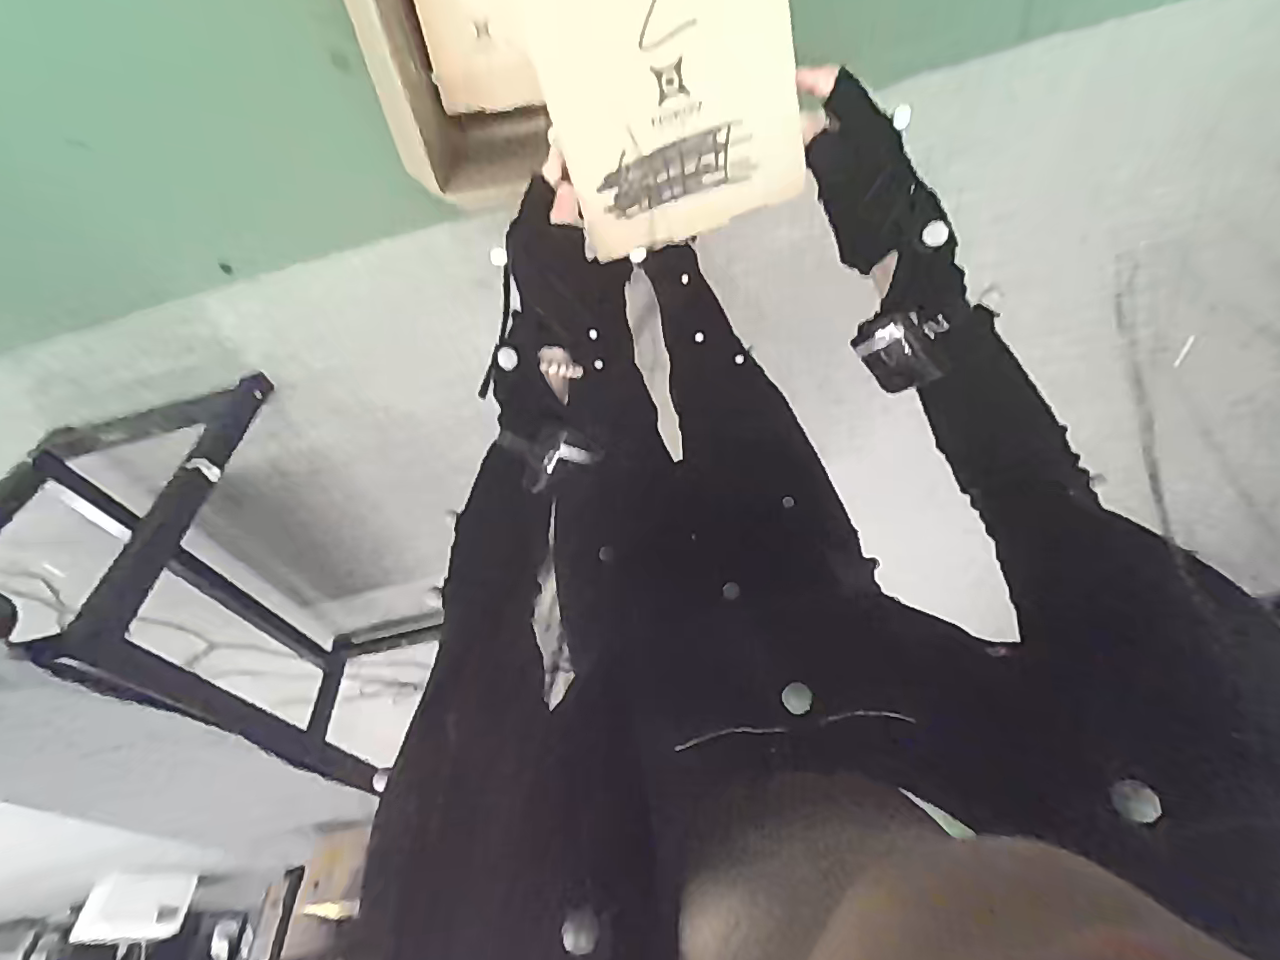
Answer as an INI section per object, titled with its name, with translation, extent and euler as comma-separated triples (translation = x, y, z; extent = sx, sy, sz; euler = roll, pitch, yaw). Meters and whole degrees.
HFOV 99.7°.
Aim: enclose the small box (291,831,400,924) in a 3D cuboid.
[small box]
translation = -0.785, 1.076, 1.462
extent = 0.179, 0.176, 0.168
euler = -14, 134, 7
